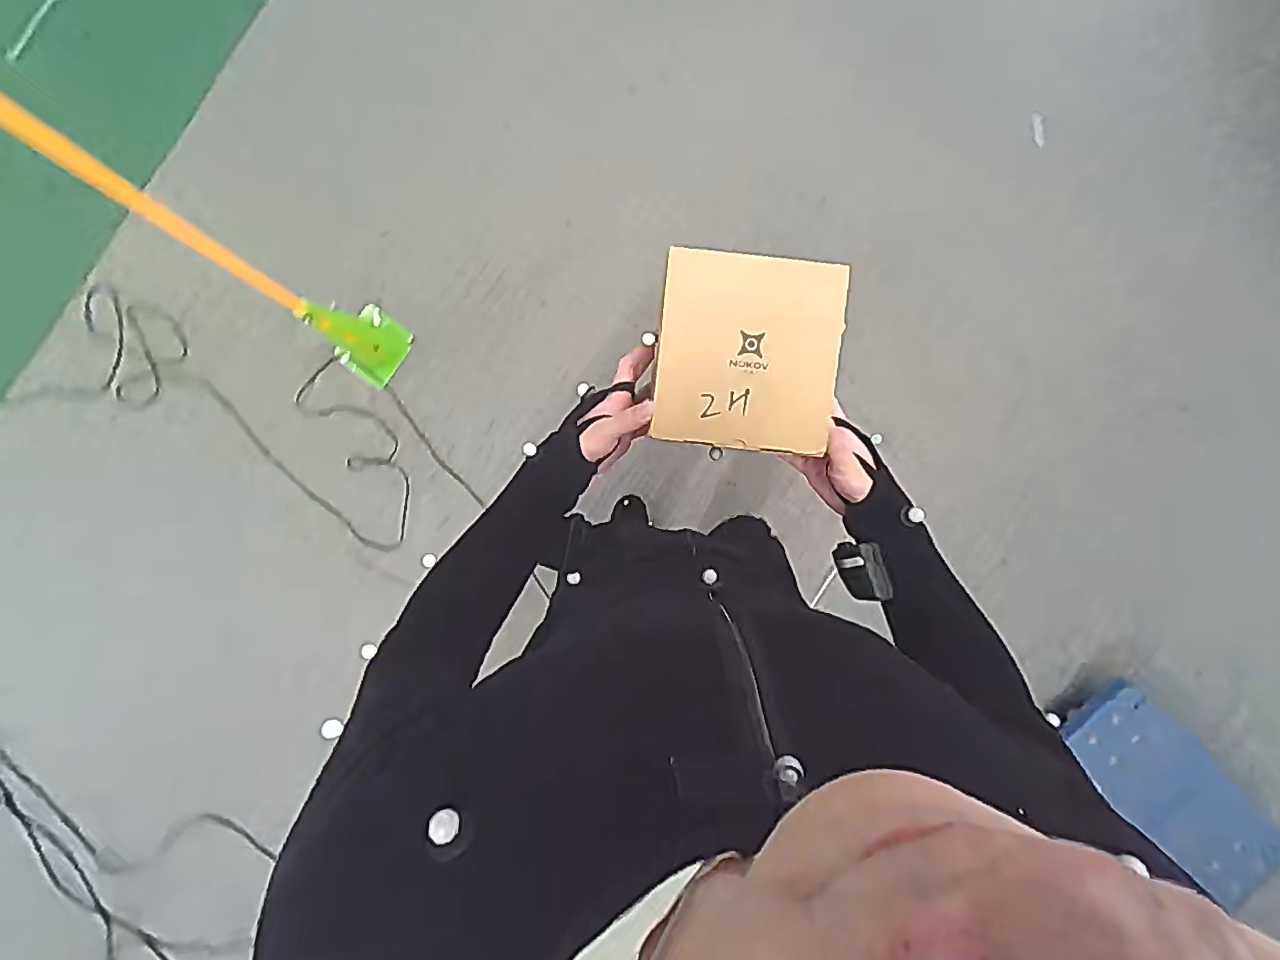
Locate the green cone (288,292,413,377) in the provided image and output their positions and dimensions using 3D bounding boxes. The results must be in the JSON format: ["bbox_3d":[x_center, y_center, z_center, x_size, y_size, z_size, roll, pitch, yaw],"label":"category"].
[{"bbox_3d":[-0.846,-0.452,1.519,0.200,0.368,0.202,36,91,3],"label":"green cone"}]

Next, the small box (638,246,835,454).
[{"bbox_3d":[0.088,-0.127,0.581,0.168,0.176,0.179,6,96,-2],"label":"small box"}]
